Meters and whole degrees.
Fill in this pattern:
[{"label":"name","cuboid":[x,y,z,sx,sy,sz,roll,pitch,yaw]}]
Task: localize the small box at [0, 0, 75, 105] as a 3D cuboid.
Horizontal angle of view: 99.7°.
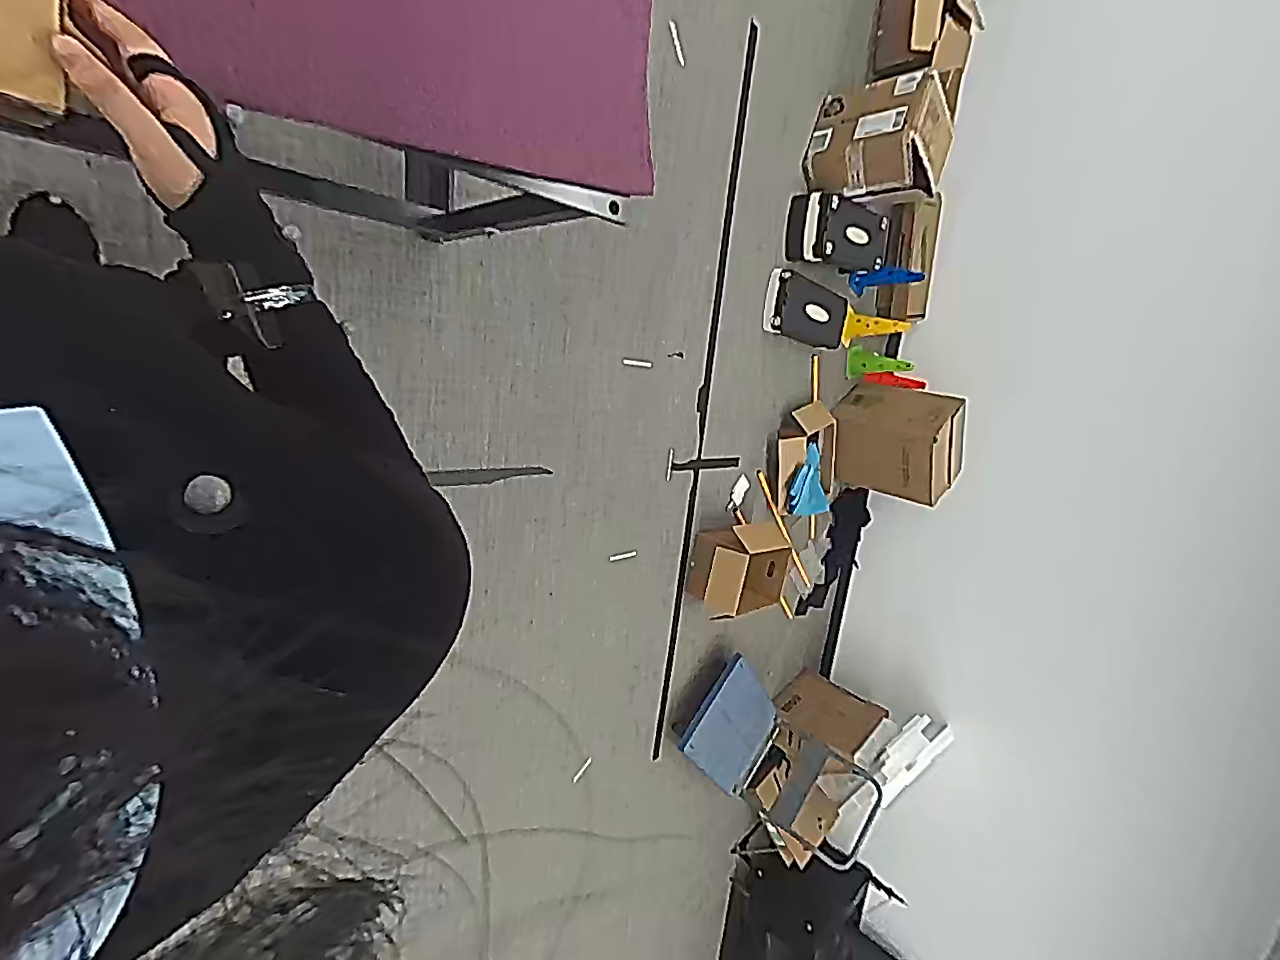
[{"label":"small box","cuboid":[-0.427,-0.317,0.276,0.179,0.176,0.168,-7,116,-51]}]
